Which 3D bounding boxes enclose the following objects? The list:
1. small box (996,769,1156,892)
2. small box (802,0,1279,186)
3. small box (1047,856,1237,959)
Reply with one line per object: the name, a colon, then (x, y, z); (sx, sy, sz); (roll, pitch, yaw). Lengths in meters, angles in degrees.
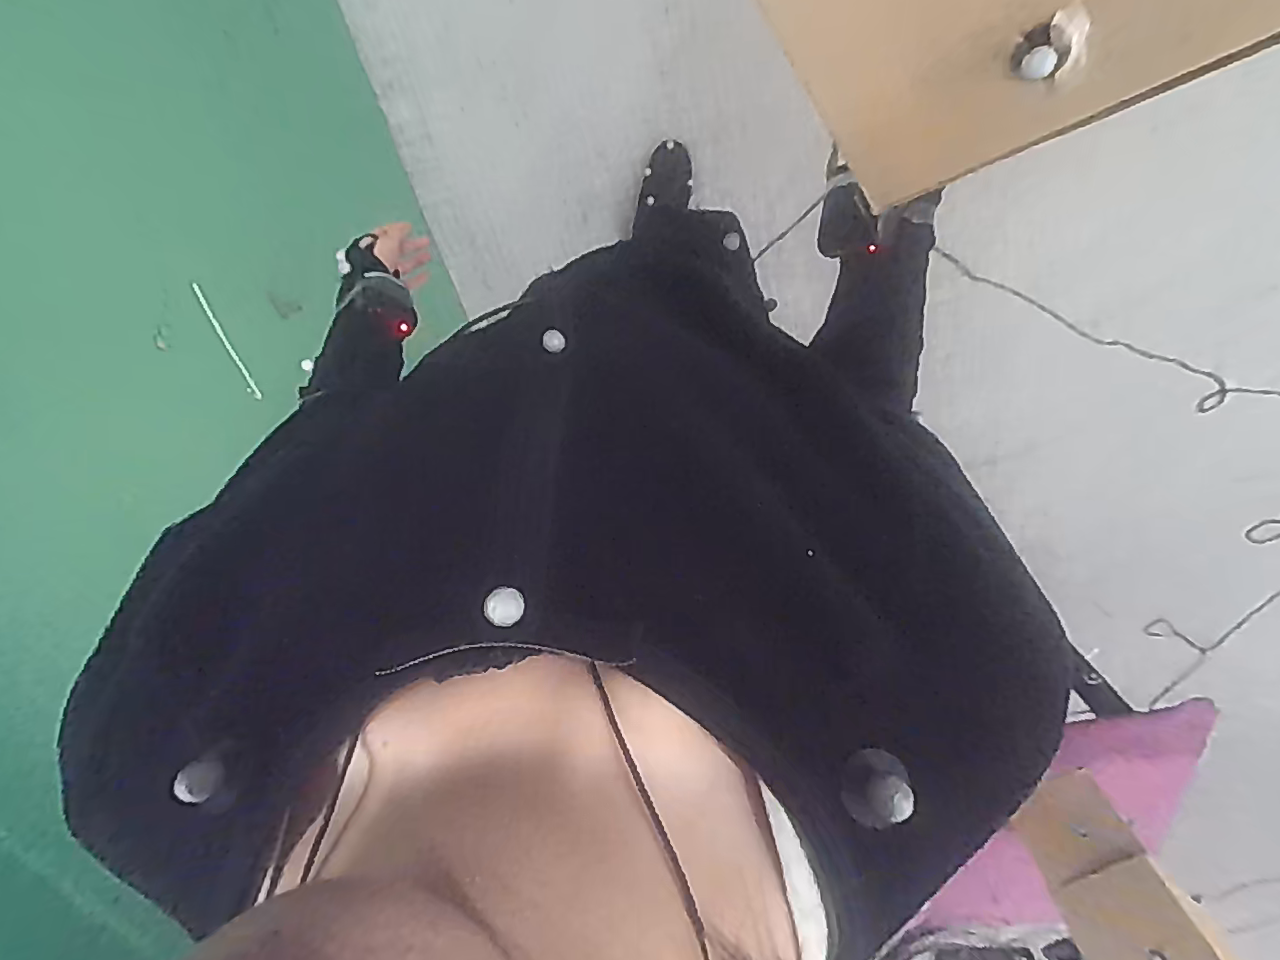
small box: (0.837, 0.695, 1.039); (0.179, 0.176, 0.168); (-34, 112, 17)
small box: (0.170, -0.278, 0.225); (0.176, 0.168, 0.179); (39, 155, -33)
small box: (0.833, 0.758, 0.885); (0.168, 0.176, 0.179); (37, 114, -17)
